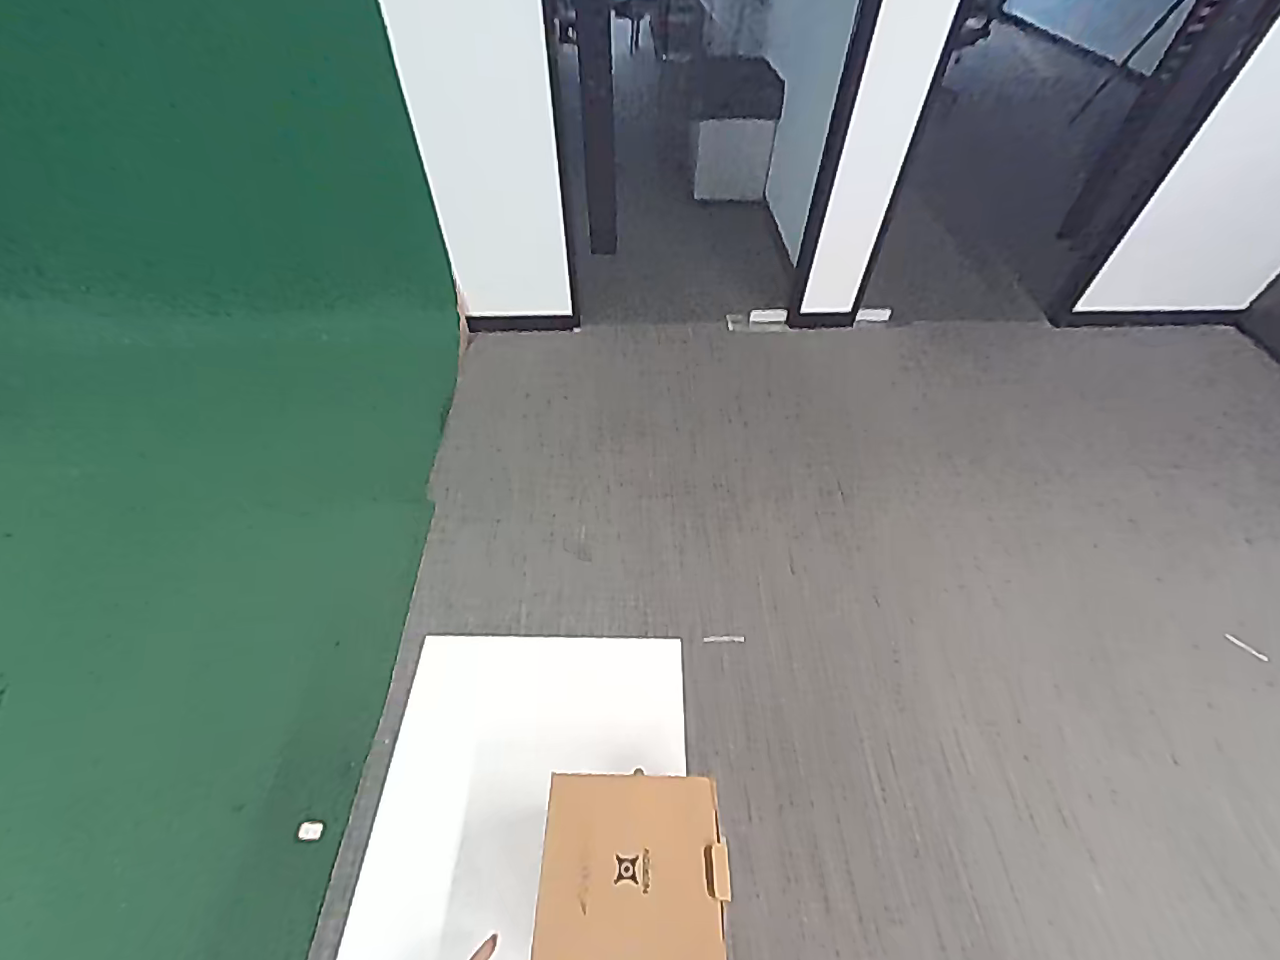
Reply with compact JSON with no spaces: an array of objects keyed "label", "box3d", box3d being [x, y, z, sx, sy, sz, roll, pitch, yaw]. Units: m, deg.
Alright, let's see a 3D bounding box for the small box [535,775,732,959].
[{"label":"small box","box3d":[-0.004,0.428,0.578,0.179,0.176,0.168,0,49,2]}]
